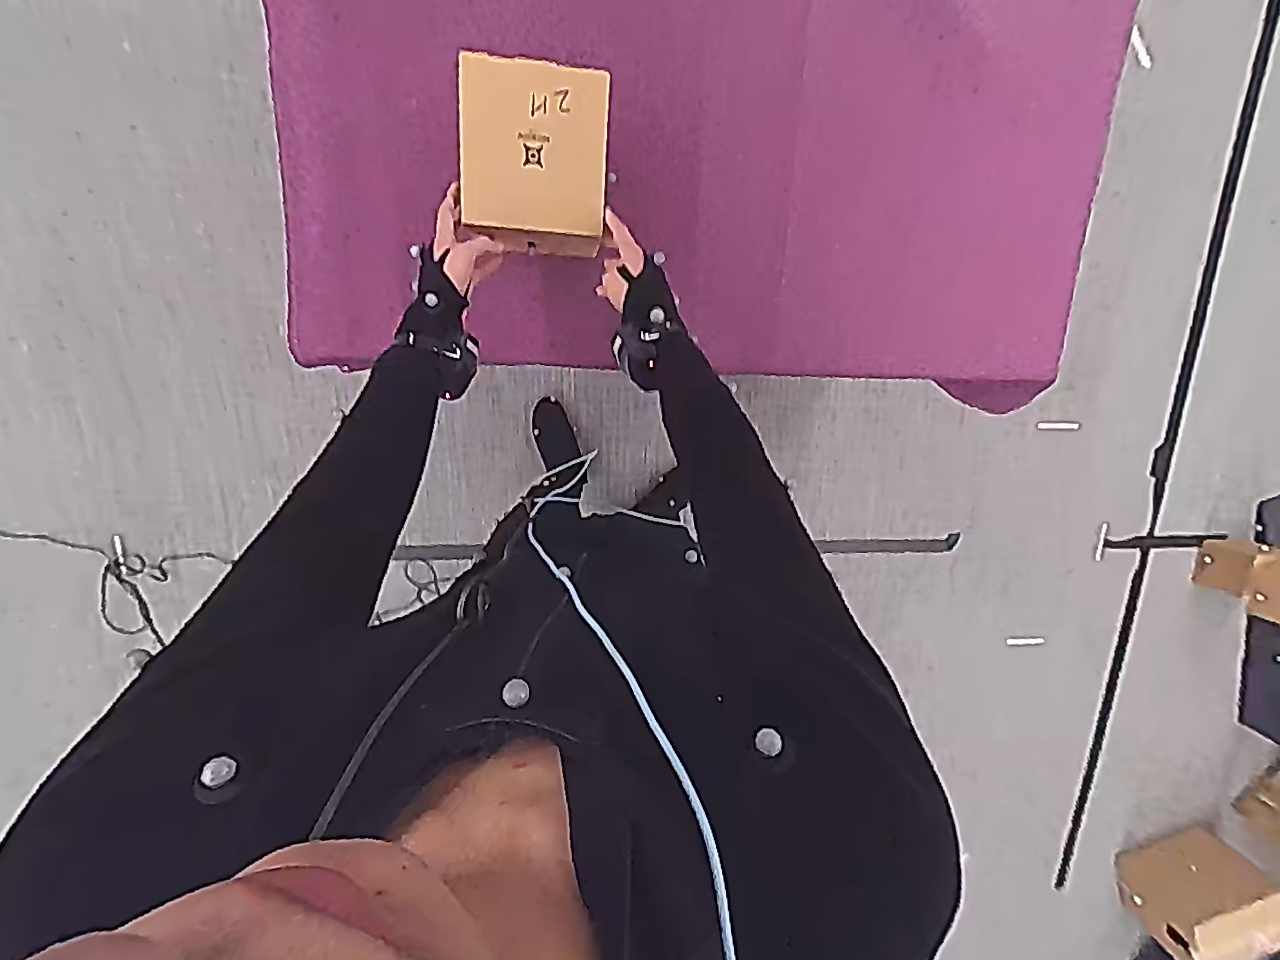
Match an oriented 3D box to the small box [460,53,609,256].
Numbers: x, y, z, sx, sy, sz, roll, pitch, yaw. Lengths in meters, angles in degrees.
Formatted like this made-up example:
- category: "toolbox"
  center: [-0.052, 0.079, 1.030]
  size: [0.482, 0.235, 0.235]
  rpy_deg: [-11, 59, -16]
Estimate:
- category: "small box"
  center: [-0.131, -0.396, 0.694]
  size: [0.168, 0.176, 0.179]
  rpy_deg: [2, 103, -9]
